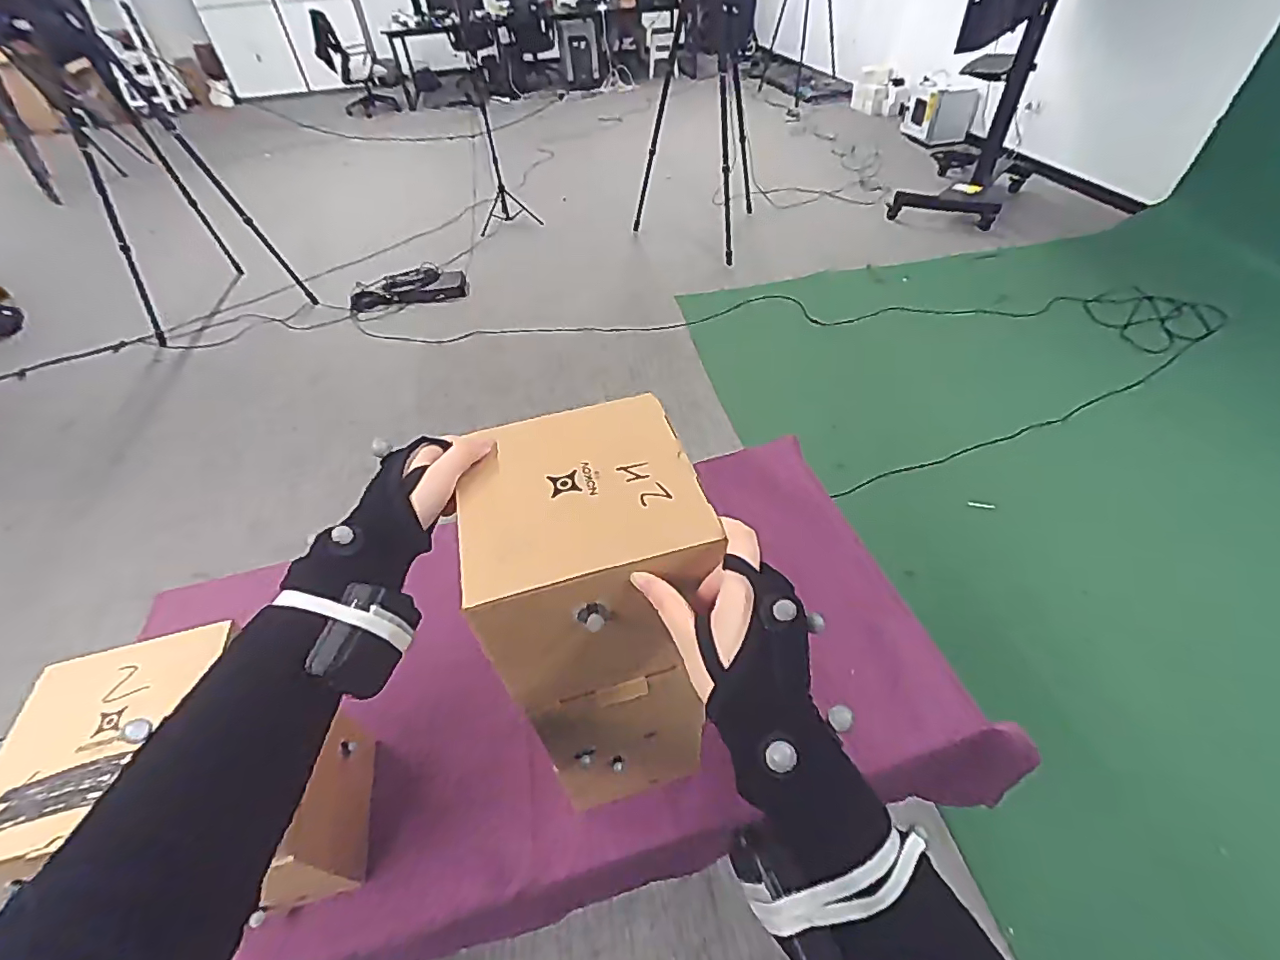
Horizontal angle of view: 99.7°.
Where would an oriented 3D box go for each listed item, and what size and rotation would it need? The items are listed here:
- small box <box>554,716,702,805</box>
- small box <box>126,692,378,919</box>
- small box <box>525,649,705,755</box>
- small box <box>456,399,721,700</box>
[{"bbox_3d":[-0.025,0.285,0.699,0.168,0.176,0.179,-15,47,-7],"label":"small box"},{"bbox_3d":[-0.429,0.385,0.640,0.168,0.176,0.179,-13,48,-7],"label":"small box"},{"bbox_3d":[-0.034,0.171,0.580,0.168,0.176,0.179,-14,47,-8],"label":"small box"},{"bbox_3d":[-0.041,0.061,0.457,0.179,0.176,0.168,-13,48,-8],"label":"small box"}]
